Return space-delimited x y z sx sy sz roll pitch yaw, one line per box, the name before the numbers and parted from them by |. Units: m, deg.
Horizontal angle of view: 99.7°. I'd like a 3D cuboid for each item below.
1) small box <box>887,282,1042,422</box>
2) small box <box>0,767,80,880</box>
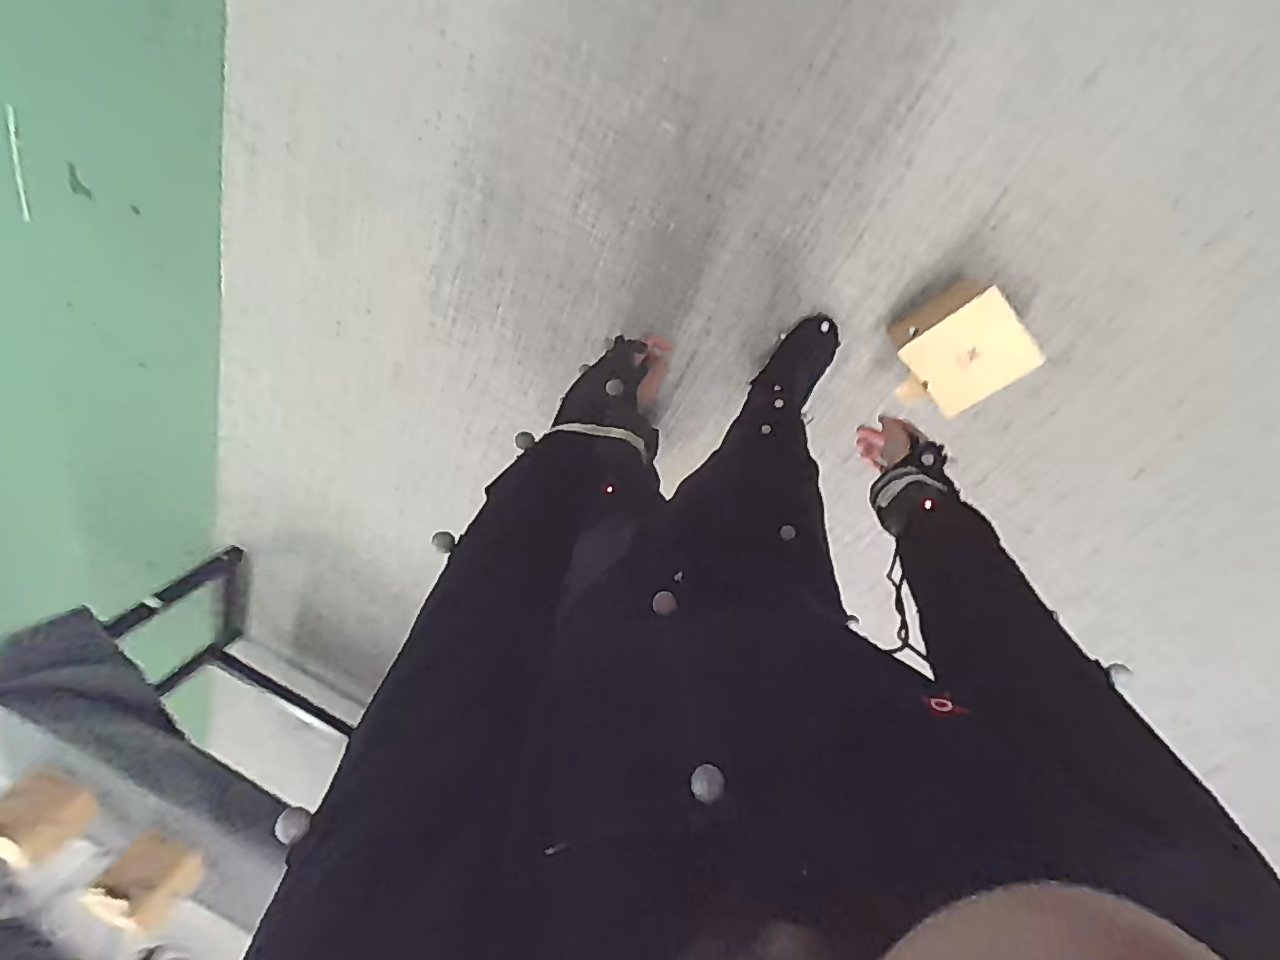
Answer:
small box | 0.592 -0.245 1.012 0.179 0.176 0.168 -36 102 29
small box | -1.656 0.901 1.430 0.168 0.176 0.179 25 122 4
